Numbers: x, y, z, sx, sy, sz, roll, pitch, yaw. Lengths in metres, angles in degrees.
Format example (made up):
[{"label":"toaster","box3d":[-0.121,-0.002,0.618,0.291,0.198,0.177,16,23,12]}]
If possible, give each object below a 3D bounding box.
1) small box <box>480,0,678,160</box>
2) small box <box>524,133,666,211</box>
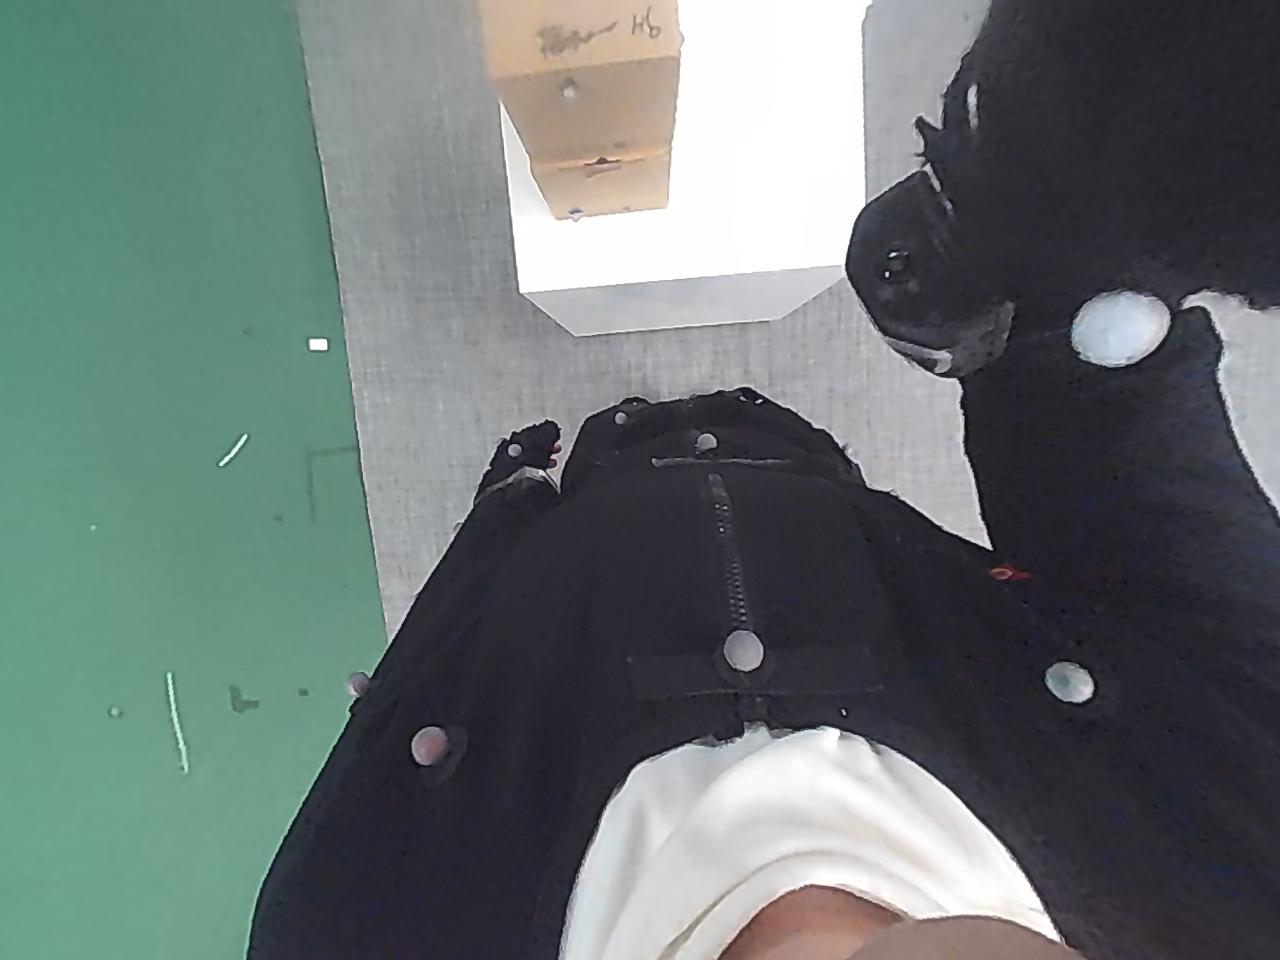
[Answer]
[{"label":"small box","box3d":[-0.055,-0.449,0.528,0.168,0.176,0.179,-5,97,2]},{"label":"small box","box3d":[-0.053,-0.462,0.691,0.168,0.176,0.179,-5,97,2]}]
